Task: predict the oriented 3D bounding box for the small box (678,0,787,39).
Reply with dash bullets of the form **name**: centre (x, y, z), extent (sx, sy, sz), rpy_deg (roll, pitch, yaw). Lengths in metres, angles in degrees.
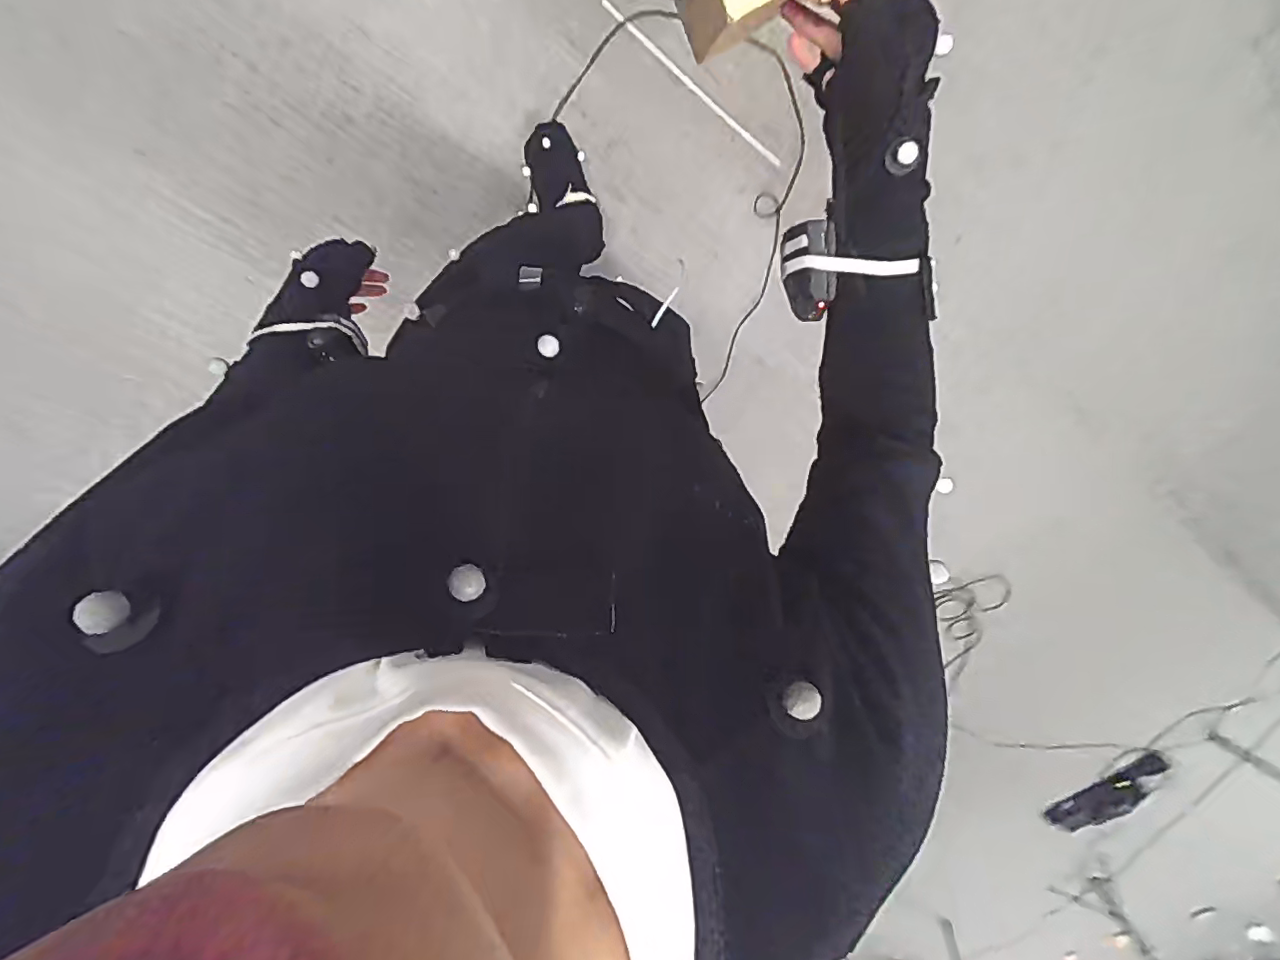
- **small box**: centre (0.086, -0.427, 0.347), extent (0.168, 0.176, 0.179), rpy_deg (-24, 118, 12)
